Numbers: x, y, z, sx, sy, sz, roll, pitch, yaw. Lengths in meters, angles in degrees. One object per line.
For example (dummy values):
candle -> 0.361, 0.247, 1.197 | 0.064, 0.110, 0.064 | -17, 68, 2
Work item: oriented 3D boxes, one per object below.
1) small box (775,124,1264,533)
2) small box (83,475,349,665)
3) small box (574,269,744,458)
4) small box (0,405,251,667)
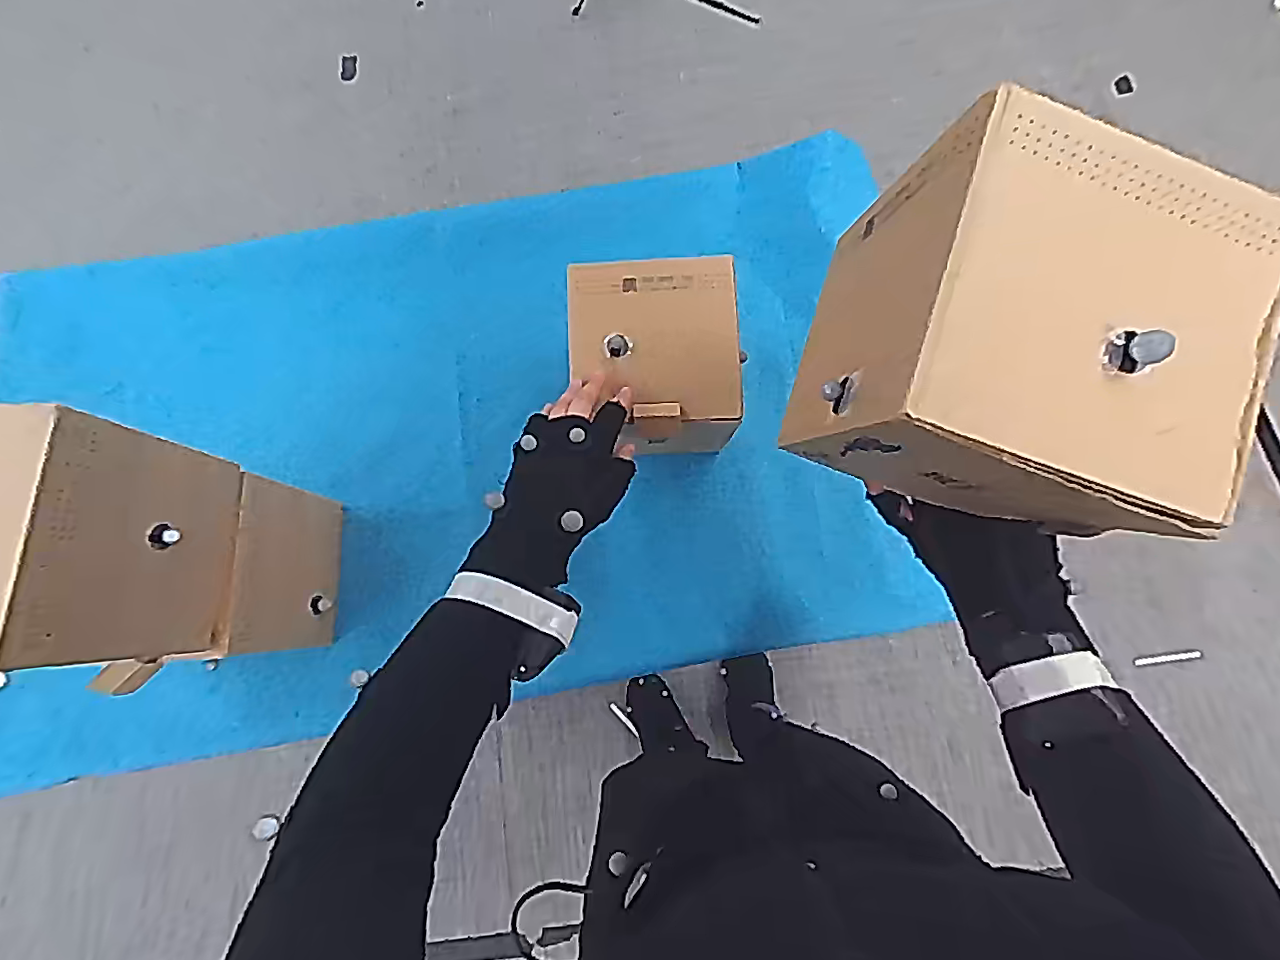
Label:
small box -> 0.215, -0.076, 0.340 | 0.179, 0.168, 0.176 | 17, 86, -6
small box -> -0.448, 0.101, 0.590 | 0.168, 0.176, 0.179 | -4, 77, 1
small box -> 0.017, -0.124, 0.613 | 0.168, 0.179, 0.176 | -2, 83, 1
small box -> -0.464, 0.053, 0.433 | 0.168, 0.176, 0.179 | -1, 78, 2
